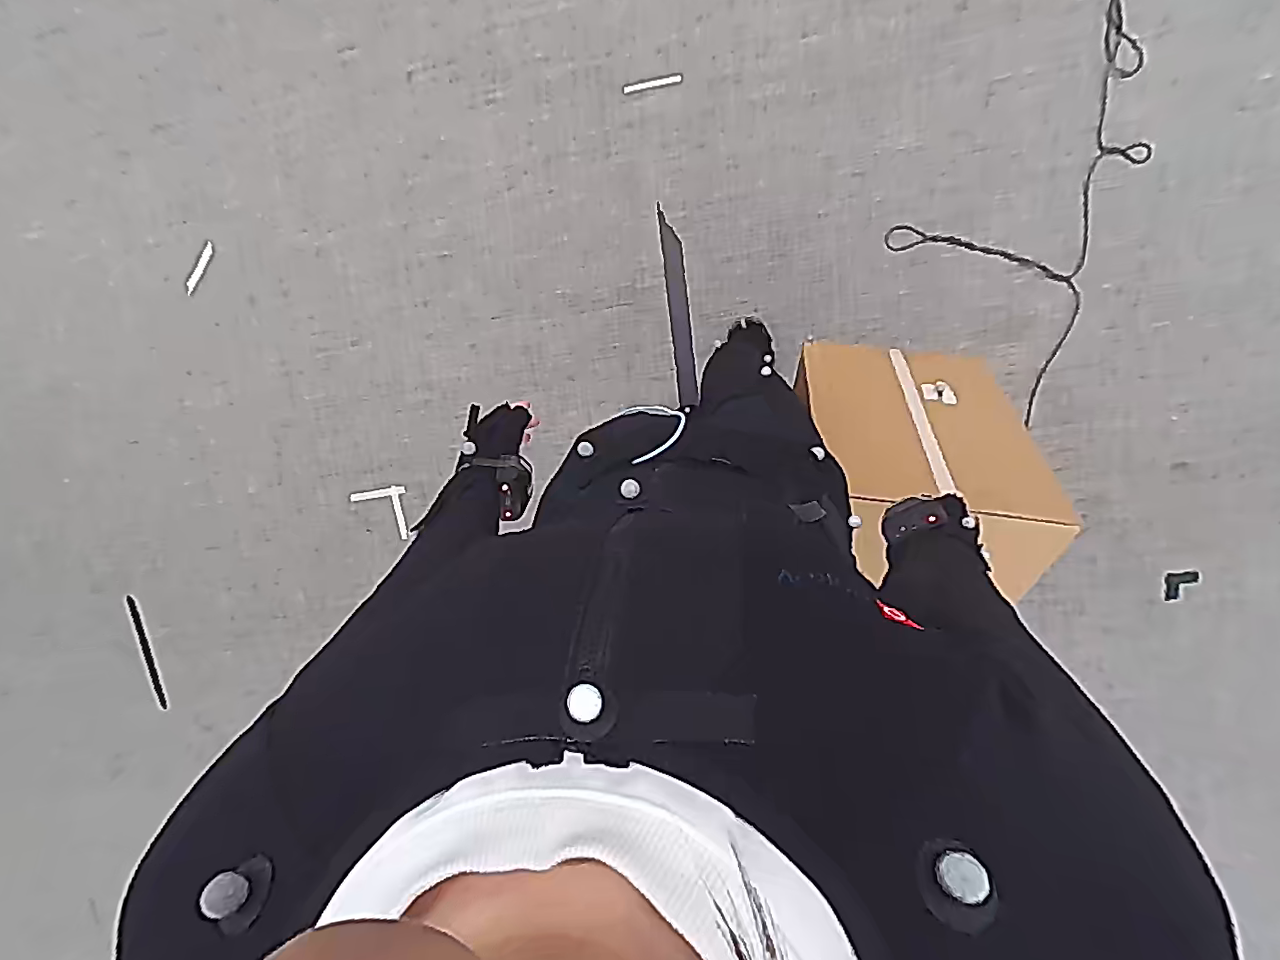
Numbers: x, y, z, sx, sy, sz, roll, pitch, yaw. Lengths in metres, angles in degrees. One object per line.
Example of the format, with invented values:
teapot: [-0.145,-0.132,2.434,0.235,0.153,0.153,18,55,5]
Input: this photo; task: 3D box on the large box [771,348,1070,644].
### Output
large box: [0.412,0.015,0.932,0.320,0.408,0.320,8,132,4]
